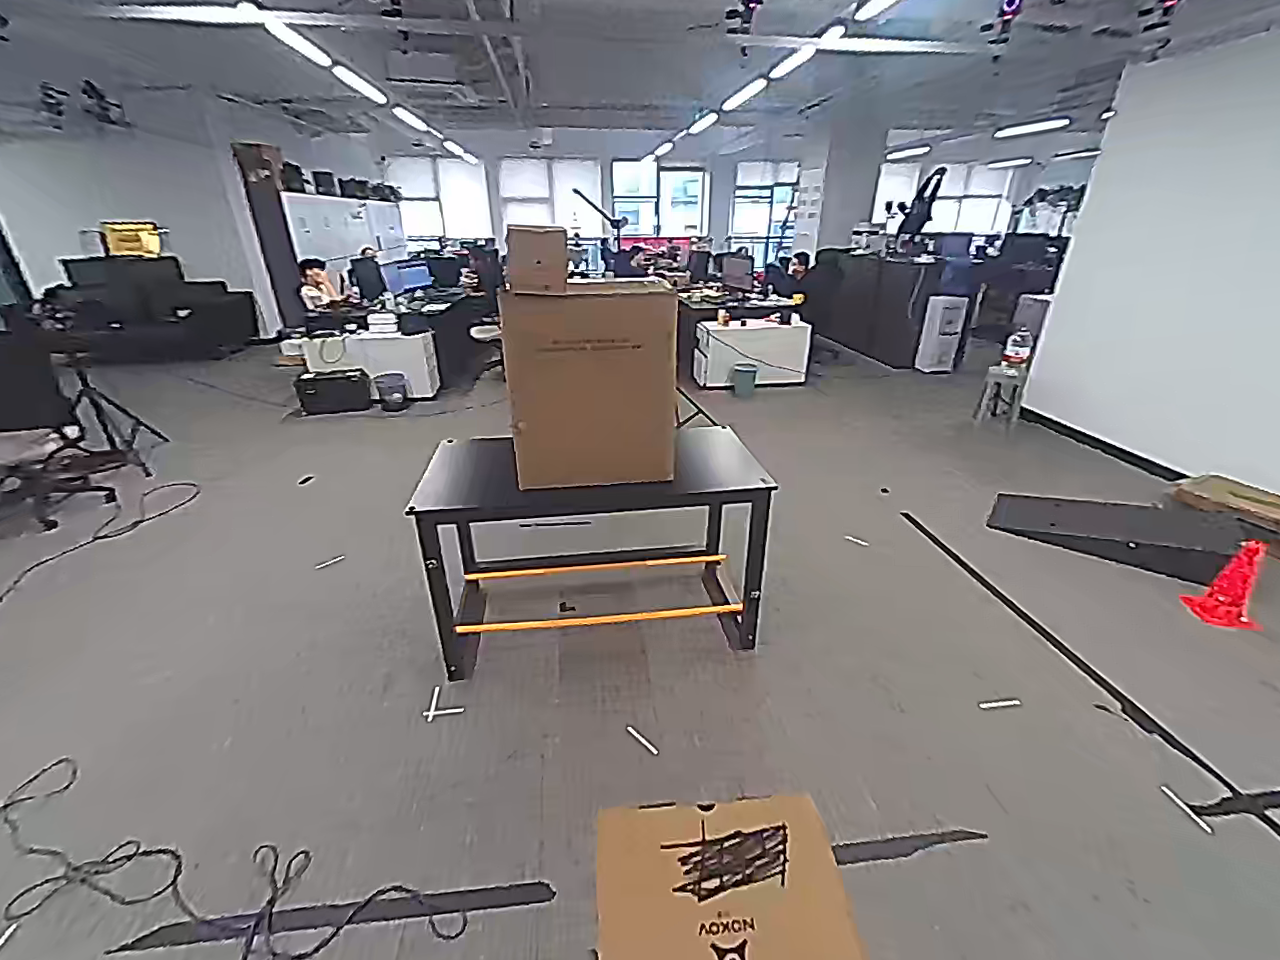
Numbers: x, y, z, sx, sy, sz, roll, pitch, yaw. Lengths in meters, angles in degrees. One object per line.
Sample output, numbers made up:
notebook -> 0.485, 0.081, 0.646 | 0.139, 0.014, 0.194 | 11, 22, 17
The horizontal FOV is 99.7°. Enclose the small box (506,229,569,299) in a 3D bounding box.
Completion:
small box -> -0.293, -0.621, 1.553 | 0.168, 0.176, 0.179 | -2, 28, -11

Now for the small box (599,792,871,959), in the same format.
small box -> 0.056, 0.354, 0.375 | 0.168, 0.176, 0.179 | -3, 33, -5
